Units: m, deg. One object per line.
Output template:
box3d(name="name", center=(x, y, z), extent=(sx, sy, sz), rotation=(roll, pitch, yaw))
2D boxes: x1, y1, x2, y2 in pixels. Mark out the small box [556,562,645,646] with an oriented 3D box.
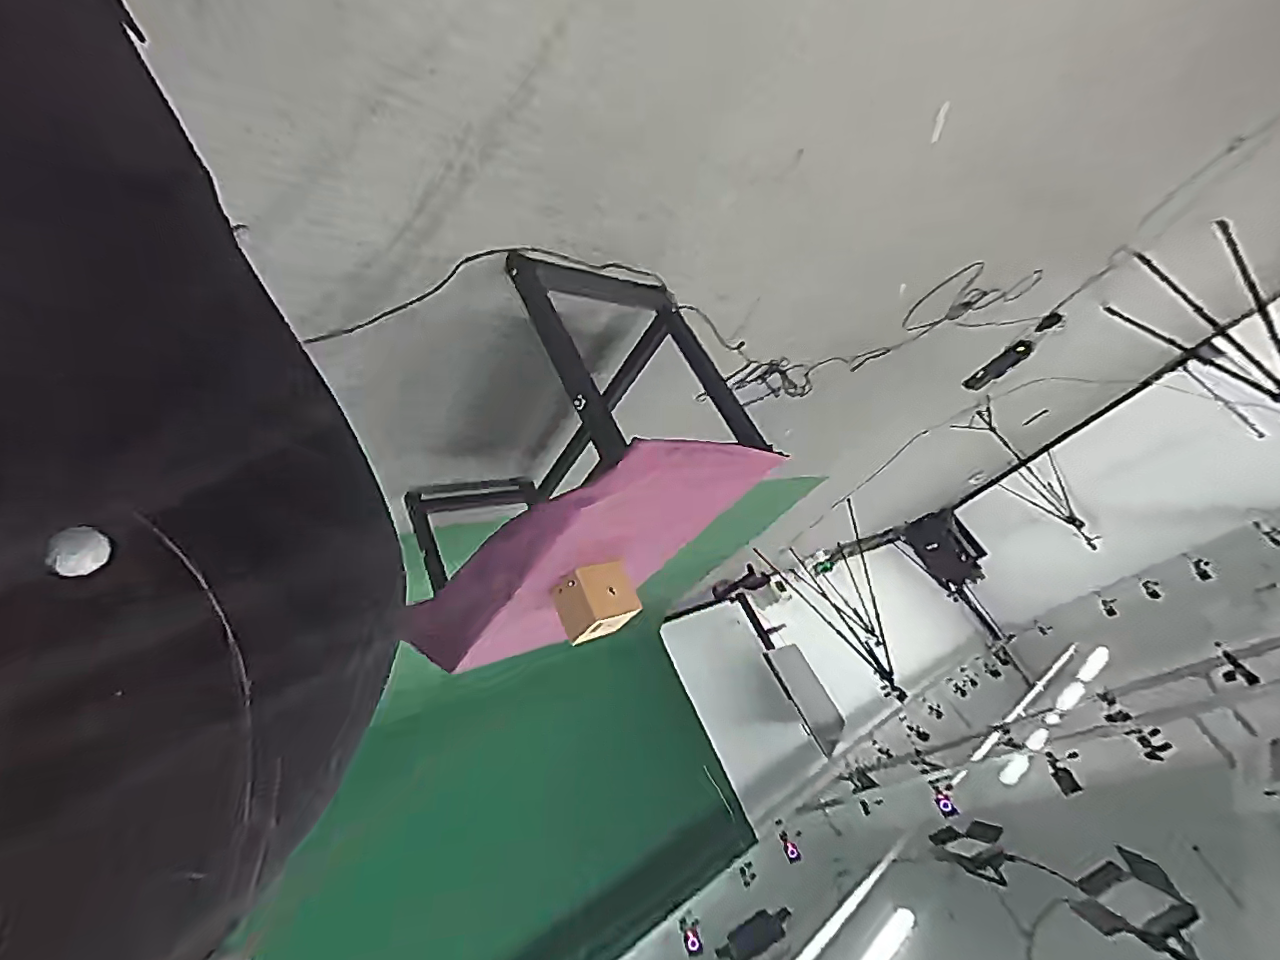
box3d(name="small box", center=(-0.125, 0.367, 1.617), extent=(0.179, 0.176, 0.168), rotation=(-5, 147, -43))
